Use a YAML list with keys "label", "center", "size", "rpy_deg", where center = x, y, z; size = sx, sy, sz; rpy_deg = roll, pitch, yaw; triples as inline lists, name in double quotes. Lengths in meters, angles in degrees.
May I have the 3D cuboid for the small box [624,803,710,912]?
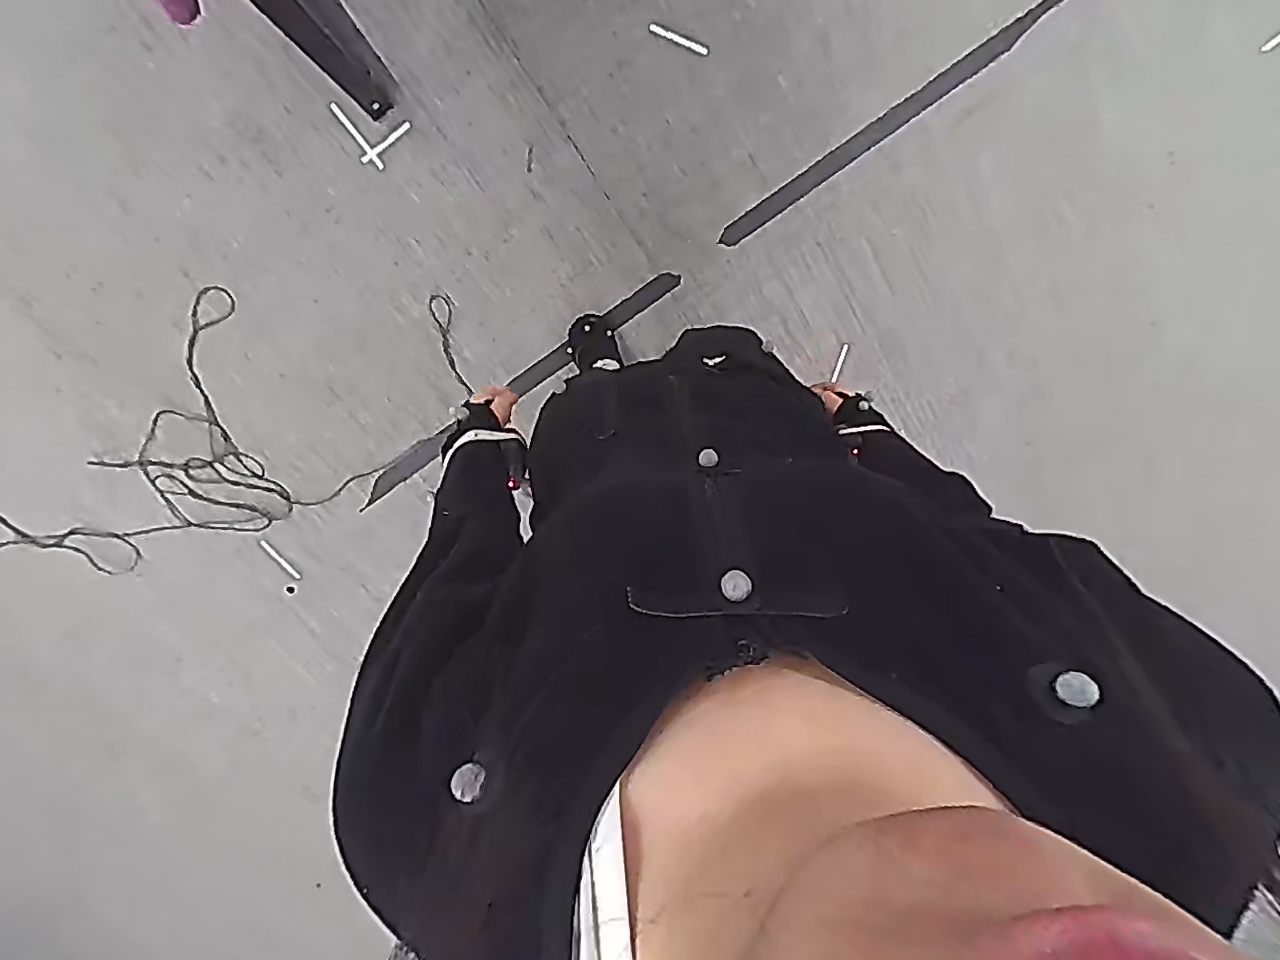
- label: "small box"
  center: [0.063, 0.982, 1.416]
  size: [0.179, 0.176, 0.168]
  rpy_deg: [12, 104, -8]
